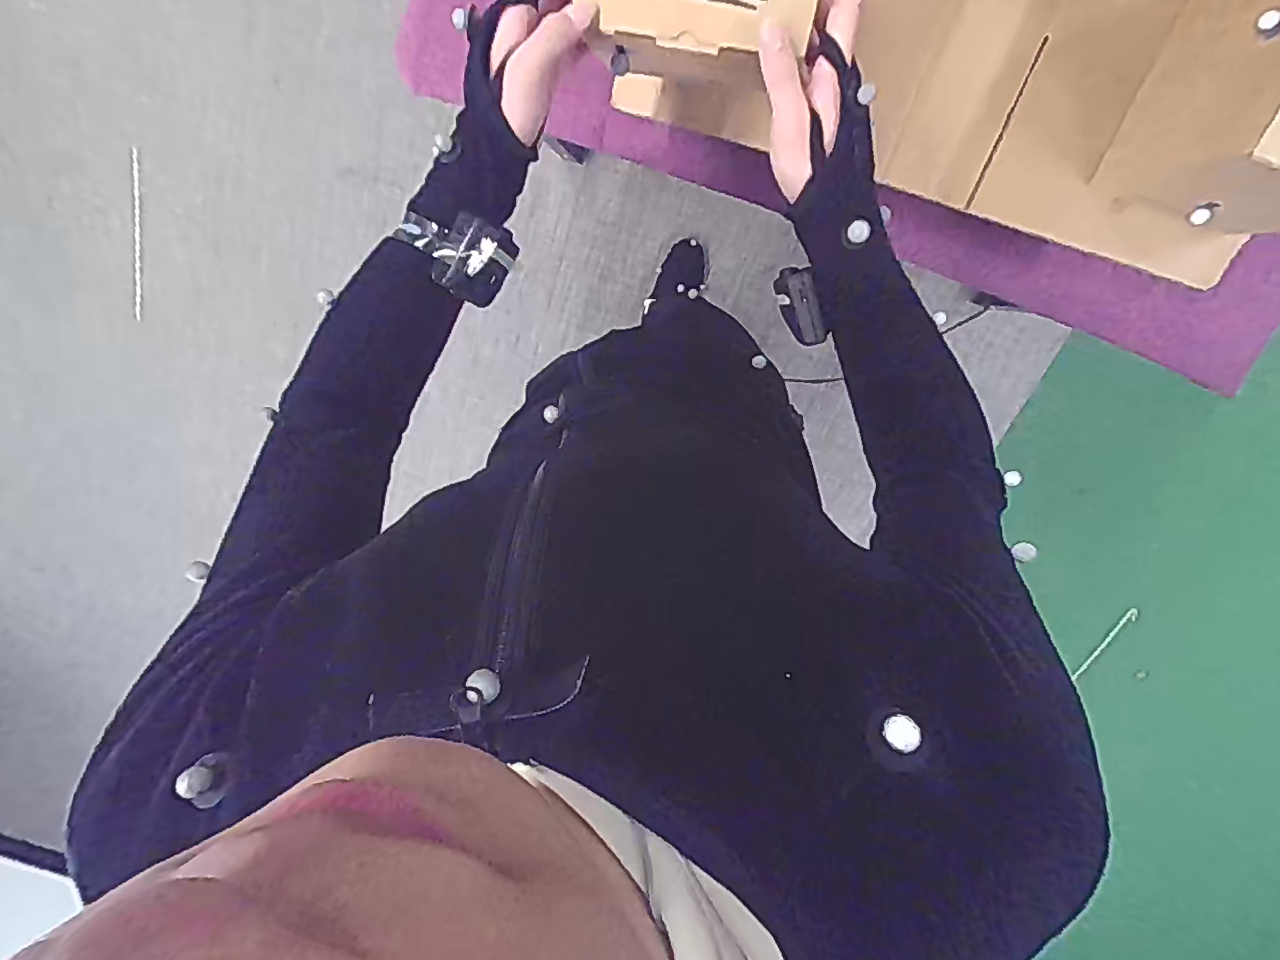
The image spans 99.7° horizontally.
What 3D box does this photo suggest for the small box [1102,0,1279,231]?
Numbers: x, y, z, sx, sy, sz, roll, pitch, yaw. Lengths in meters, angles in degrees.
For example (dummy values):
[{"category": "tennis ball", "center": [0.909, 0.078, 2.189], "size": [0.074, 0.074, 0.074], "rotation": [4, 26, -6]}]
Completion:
[{"category": "small box", "center": [0.552, -0.324, 0.447], "size": [0.168, 0.176, 0.179], "rotation": [16, 112, -3]}]
